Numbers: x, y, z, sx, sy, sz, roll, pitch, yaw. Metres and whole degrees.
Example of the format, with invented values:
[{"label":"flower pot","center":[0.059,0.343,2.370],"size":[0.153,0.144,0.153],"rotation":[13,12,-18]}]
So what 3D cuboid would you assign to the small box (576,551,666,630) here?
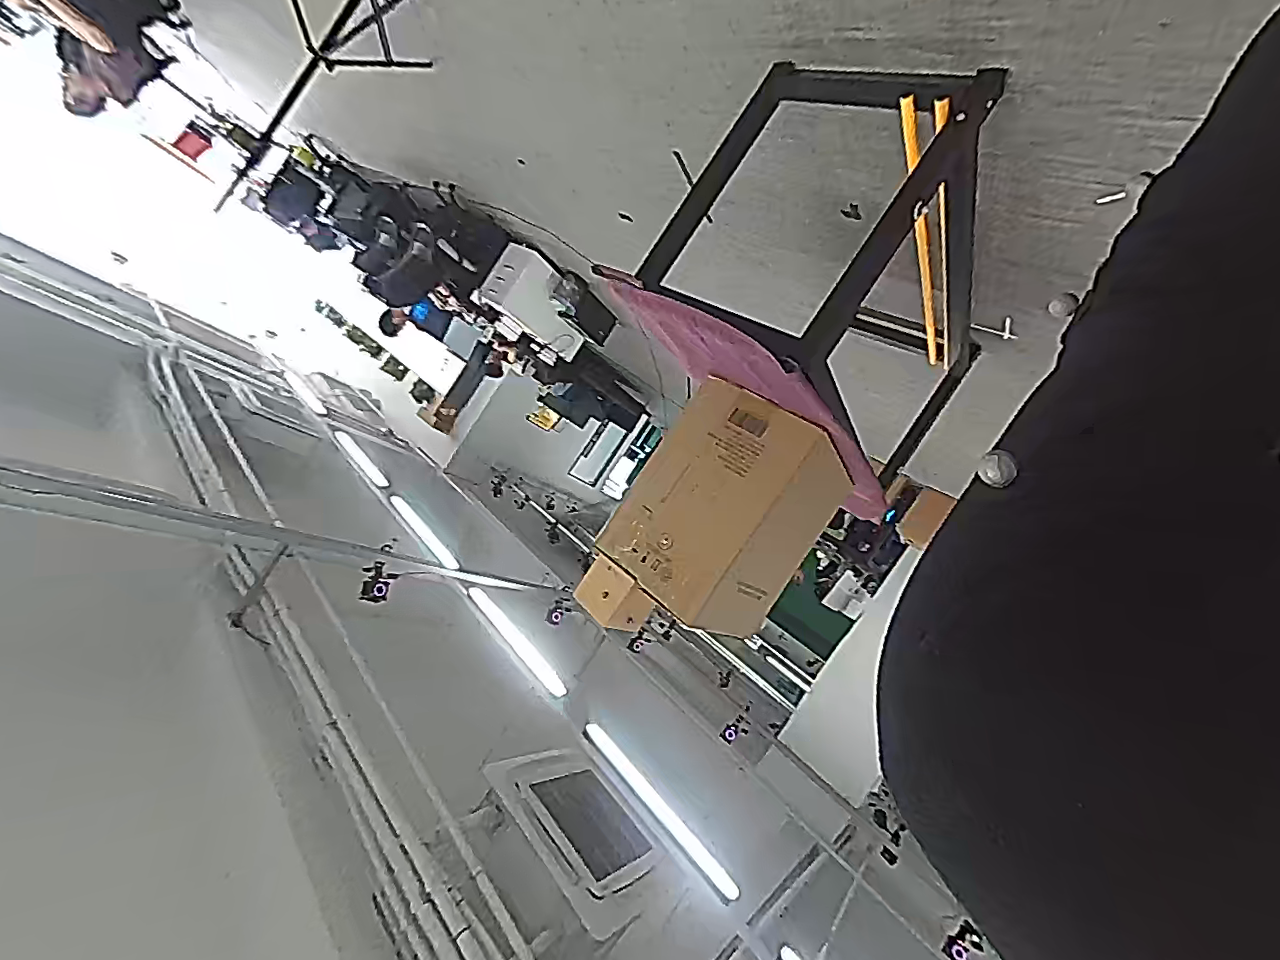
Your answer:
[{"label":"small box","center":[-0.055,0.336,1.656],"size":[0.168,0.176,0.179],"rotation":[35,-176,39]}]
